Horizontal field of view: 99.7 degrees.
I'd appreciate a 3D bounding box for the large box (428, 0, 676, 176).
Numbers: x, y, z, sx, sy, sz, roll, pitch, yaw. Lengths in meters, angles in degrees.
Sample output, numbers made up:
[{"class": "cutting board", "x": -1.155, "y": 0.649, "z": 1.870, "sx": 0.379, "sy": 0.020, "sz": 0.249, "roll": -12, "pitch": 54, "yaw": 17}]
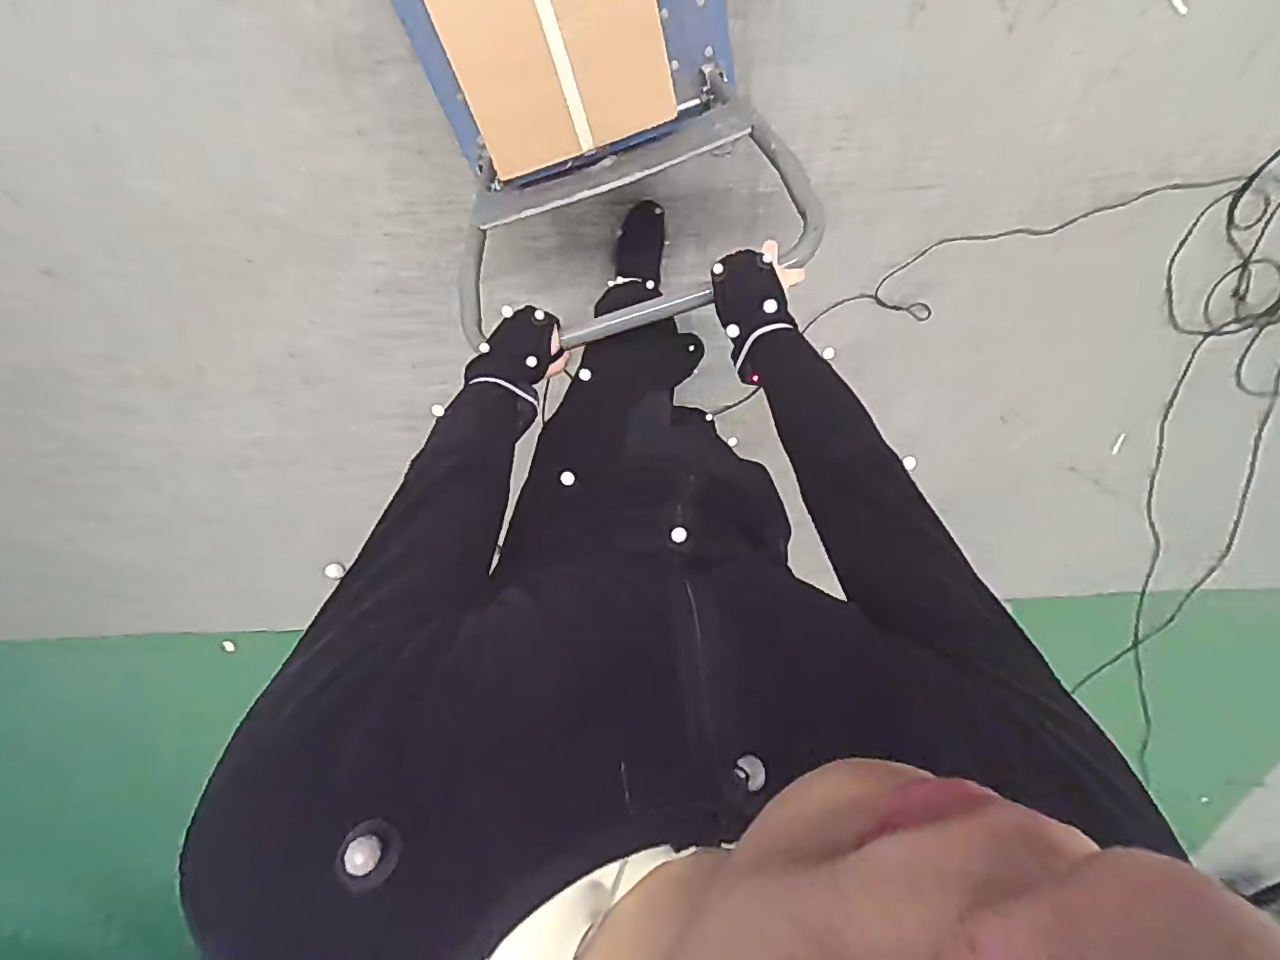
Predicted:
[{"class": "large box", "x": -0.155, "y": -0.793, "z": 0.877, "sx": 0.320, "sy": 0.320, "sz": 0.408, "roll": -16, "pitch": 133, "yaw": 7}]
